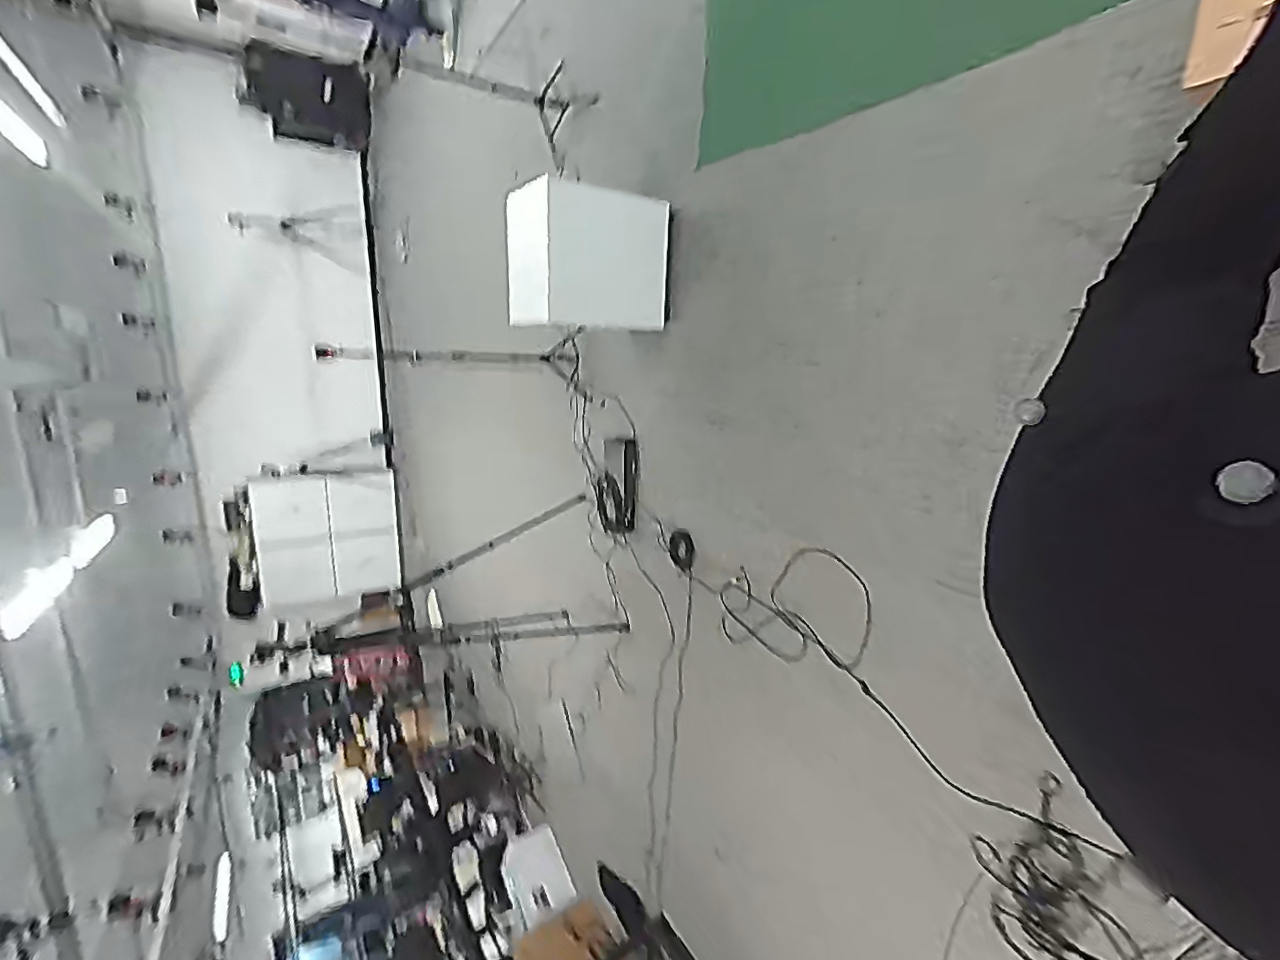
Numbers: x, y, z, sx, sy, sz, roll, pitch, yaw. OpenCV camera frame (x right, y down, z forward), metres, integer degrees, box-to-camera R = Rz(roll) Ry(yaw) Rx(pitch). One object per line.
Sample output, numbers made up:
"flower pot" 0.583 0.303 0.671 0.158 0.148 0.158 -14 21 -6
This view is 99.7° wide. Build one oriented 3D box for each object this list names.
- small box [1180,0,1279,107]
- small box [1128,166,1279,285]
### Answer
"small box" 1.056 -0.756 0.897 0.179 0.176 0.168 19 112 54
"small box" 1.042 -0.447 0.976 0.179 0.176 0.168 26 117 51
